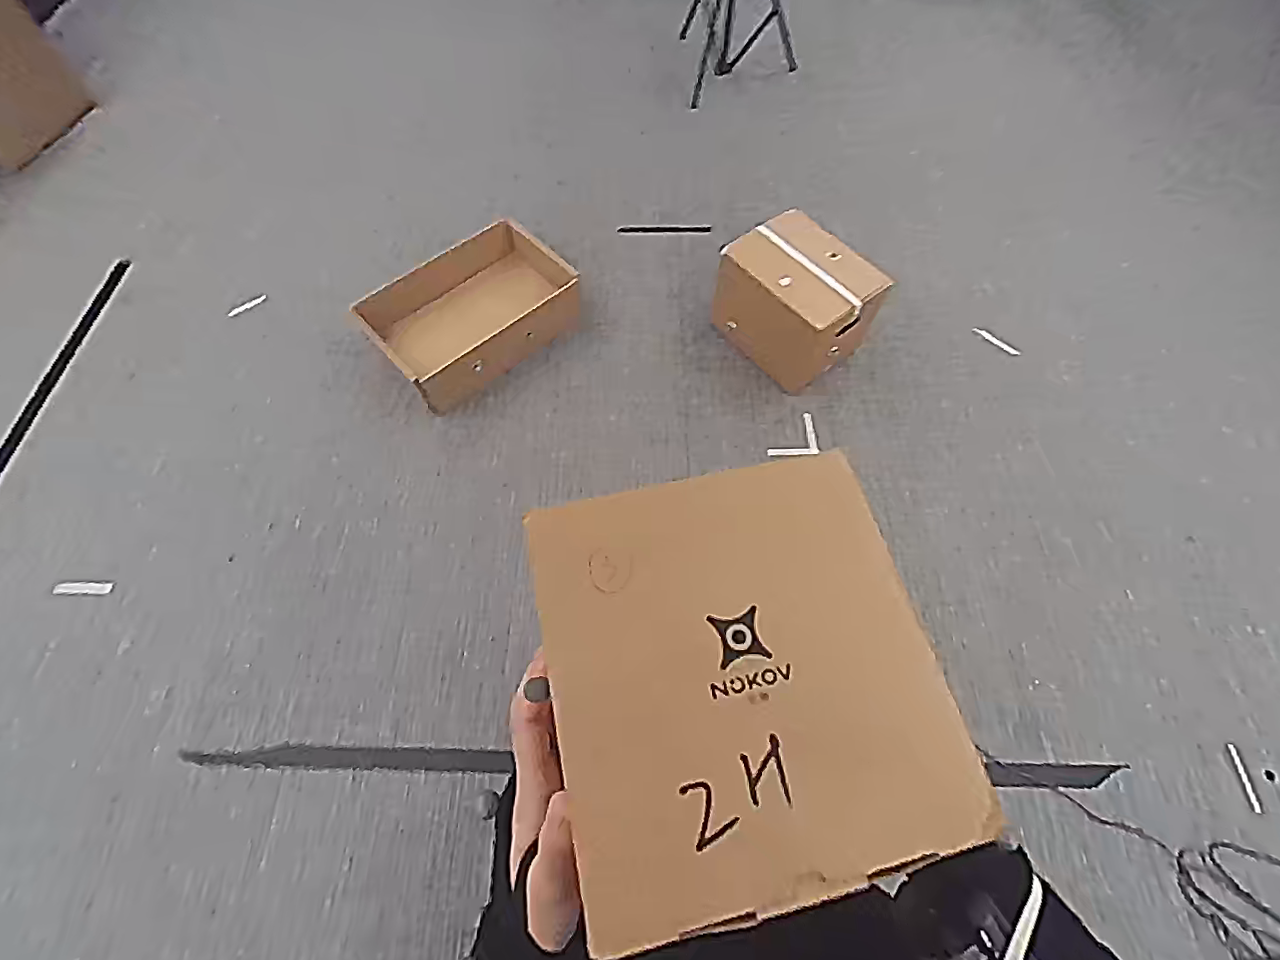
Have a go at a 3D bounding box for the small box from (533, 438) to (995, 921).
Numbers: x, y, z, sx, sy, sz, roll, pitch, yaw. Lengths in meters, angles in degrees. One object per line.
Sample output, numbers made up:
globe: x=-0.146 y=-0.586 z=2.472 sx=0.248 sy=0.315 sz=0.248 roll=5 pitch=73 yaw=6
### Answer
small box: x=0.040 y=0.101 z=0.309 sx=0.168 sy=0.176 sz=0.179 roll=-11 pitch=66 yaw=-7
